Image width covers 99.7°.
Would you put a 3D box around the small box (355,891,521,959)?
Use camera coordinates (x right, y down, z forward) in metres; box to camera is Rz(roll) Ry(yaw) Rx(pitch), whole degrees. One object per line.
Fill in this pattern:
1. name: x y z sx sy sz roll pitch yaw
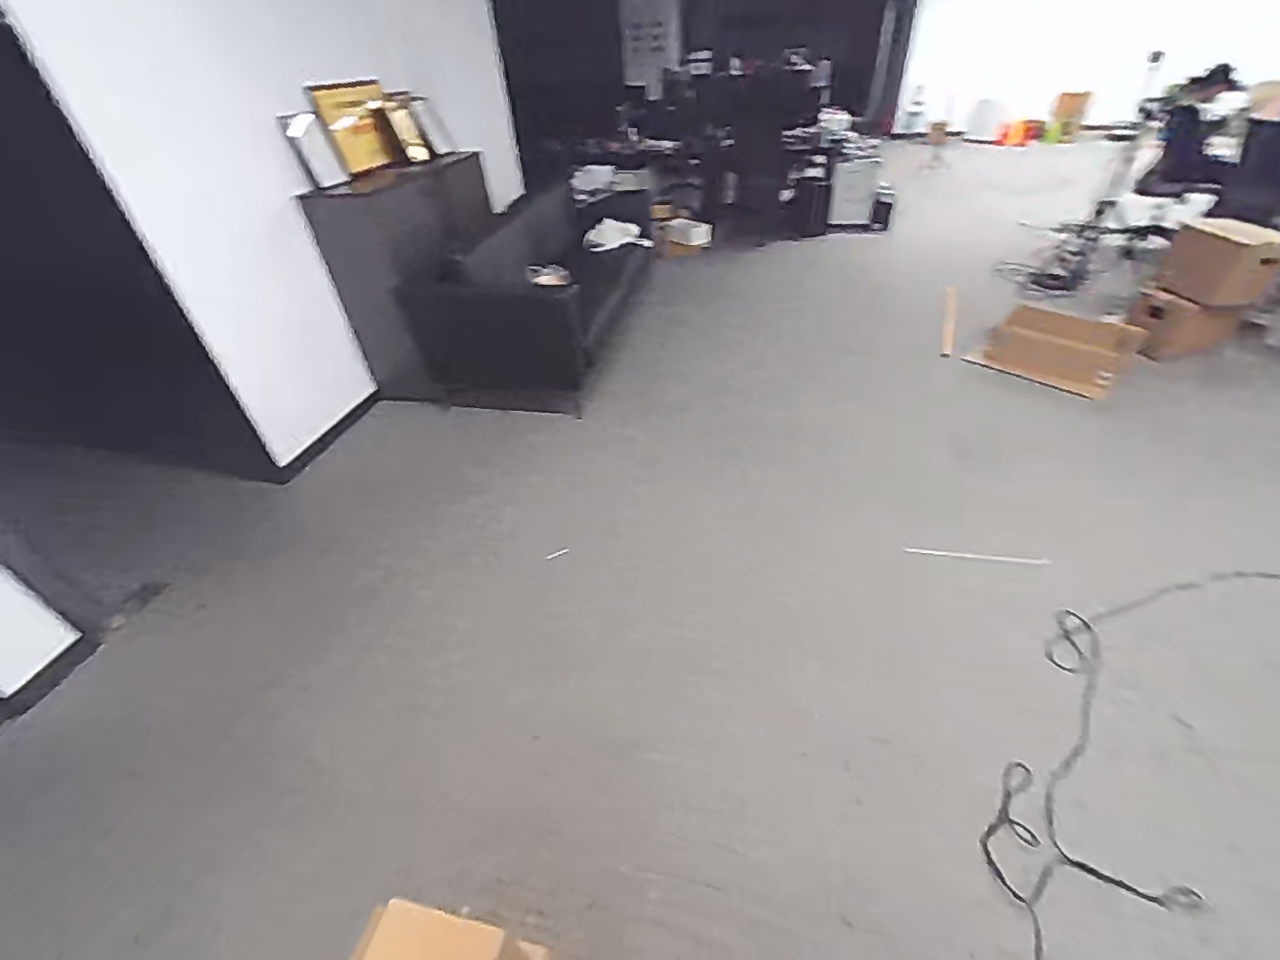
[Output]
1. small box: -0.283 0.695 0.728 0.179 0.176 0.168 6 41 12
